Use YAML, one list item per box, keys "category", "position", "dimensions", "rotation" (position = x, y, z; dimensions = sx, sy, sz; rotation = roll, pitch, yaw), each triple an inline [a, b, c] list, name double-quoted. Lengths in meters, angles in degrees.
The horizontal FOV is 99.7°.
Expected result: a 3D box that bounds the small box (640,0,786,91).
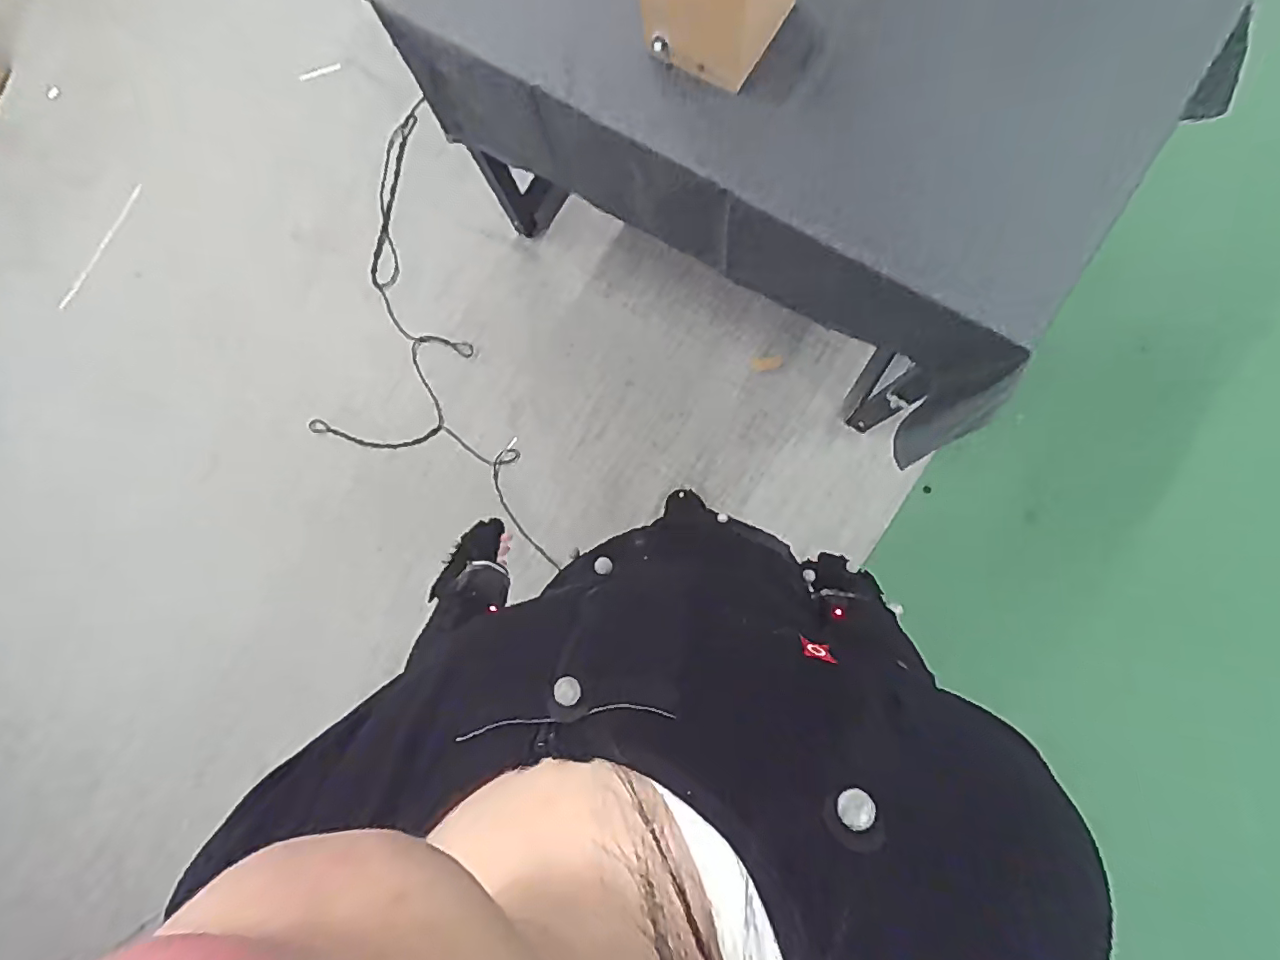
- category: "small box"
  position: [0.111, -0.705, 0.759]
  dimensions: [0.168, 0.176, 0.179]
  rotation: [32, 87, 8]
